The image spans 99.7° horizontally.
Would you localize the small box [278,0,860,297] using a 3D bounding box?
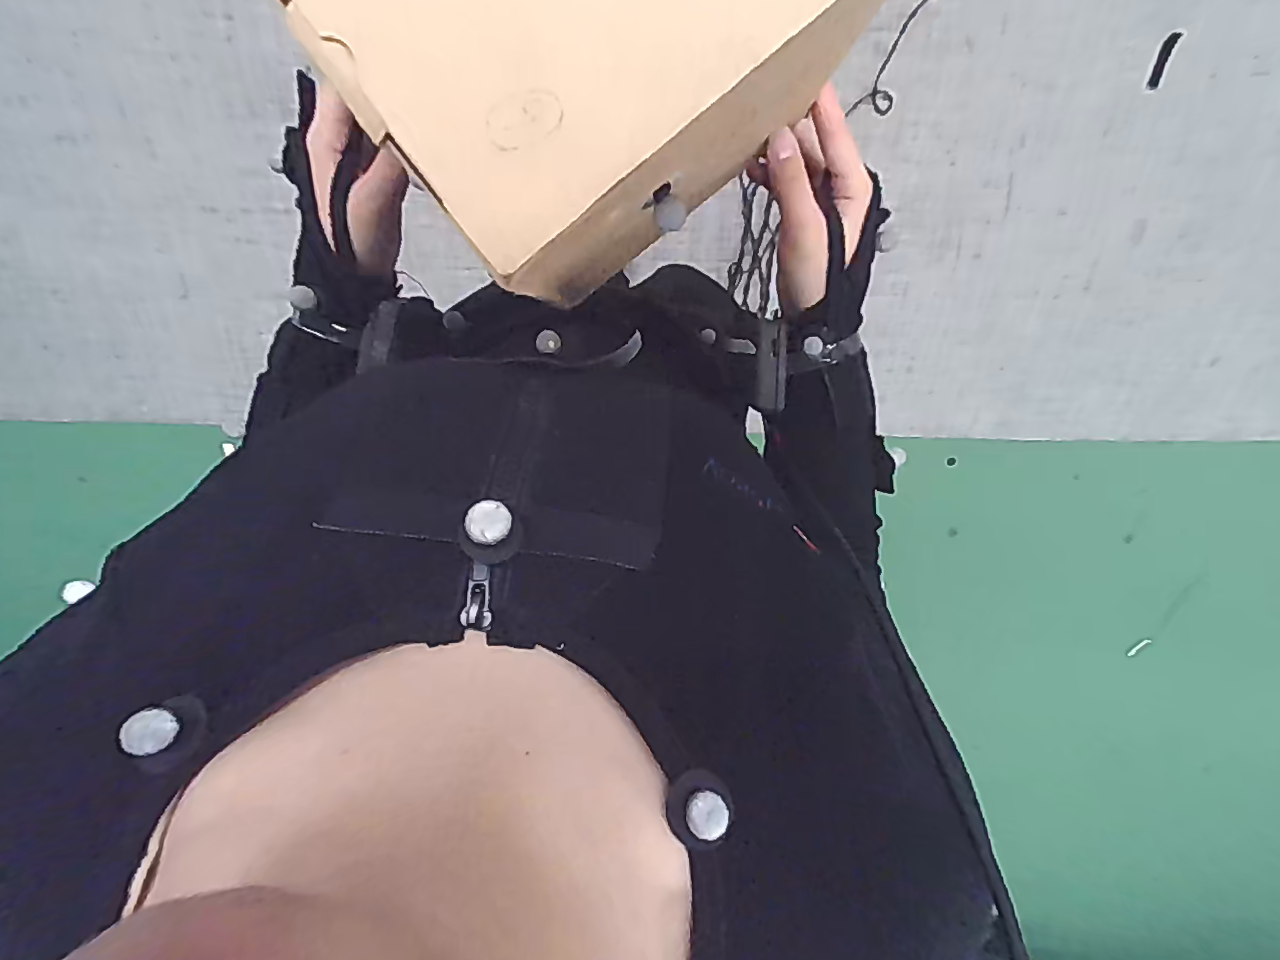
[{"bbox_3d":[-0.026,-0.201,0.237,0.179,0.176,0.168,-36,101,10],"label":"small box"}]
